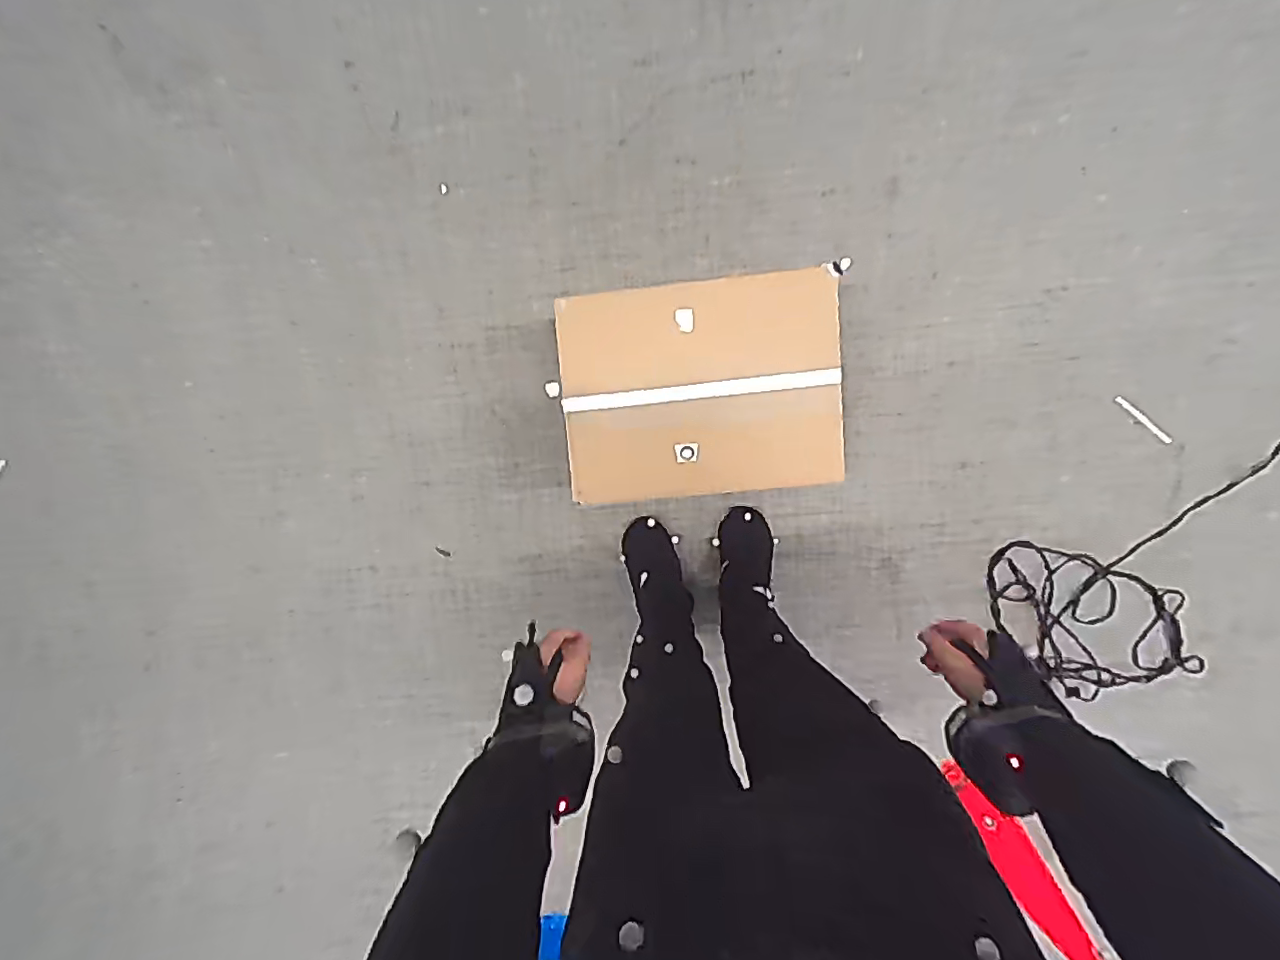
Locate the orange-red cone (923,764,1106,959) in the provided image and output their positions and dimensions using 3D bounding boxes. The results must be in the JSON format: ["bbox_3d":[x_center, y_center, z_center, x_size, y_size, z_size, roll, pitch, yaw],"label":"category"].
[{"bbox_3d":[0.723,0.740,0.993,0.199,0.360,0.198,15,100,0],"label":"orange-red cone"}]
